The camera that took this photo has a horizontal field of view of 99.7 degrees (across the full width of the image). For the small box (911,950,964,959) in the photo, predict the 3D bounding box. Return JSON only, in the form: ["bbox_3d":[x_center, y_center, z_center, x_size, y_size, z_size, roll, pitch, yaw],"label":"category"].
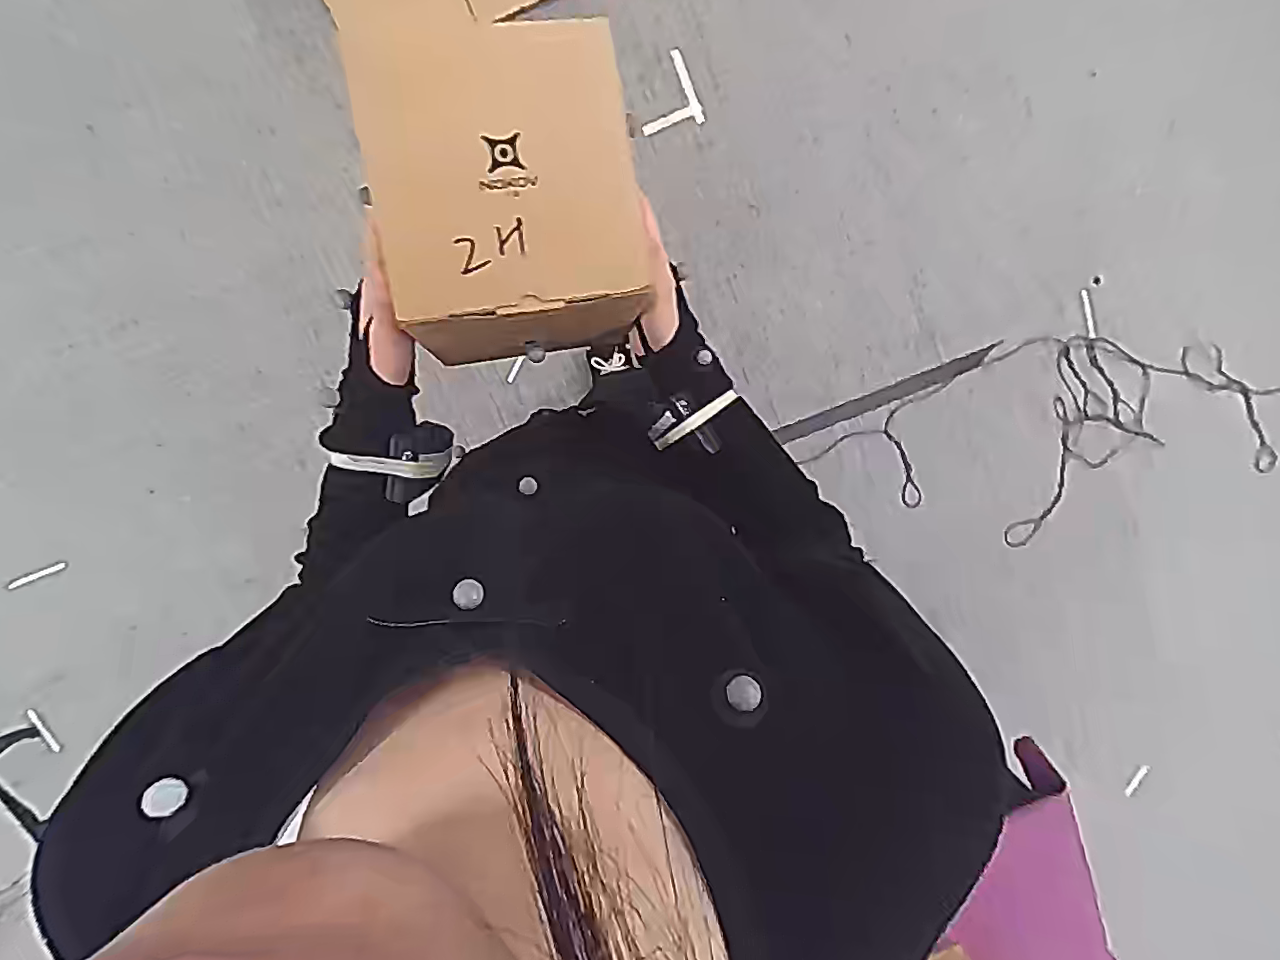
[{"bbox_3d":[0.528,0.950,0.914,0.168,0.176,0.179,-21,103,-2],"label":"small box"}]

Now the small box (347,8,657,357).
[{"bbox_3d":[-0.096,-0.204,0.414,0.168,0.176,0.179,-11,95,-9],"label":"small box"}]
